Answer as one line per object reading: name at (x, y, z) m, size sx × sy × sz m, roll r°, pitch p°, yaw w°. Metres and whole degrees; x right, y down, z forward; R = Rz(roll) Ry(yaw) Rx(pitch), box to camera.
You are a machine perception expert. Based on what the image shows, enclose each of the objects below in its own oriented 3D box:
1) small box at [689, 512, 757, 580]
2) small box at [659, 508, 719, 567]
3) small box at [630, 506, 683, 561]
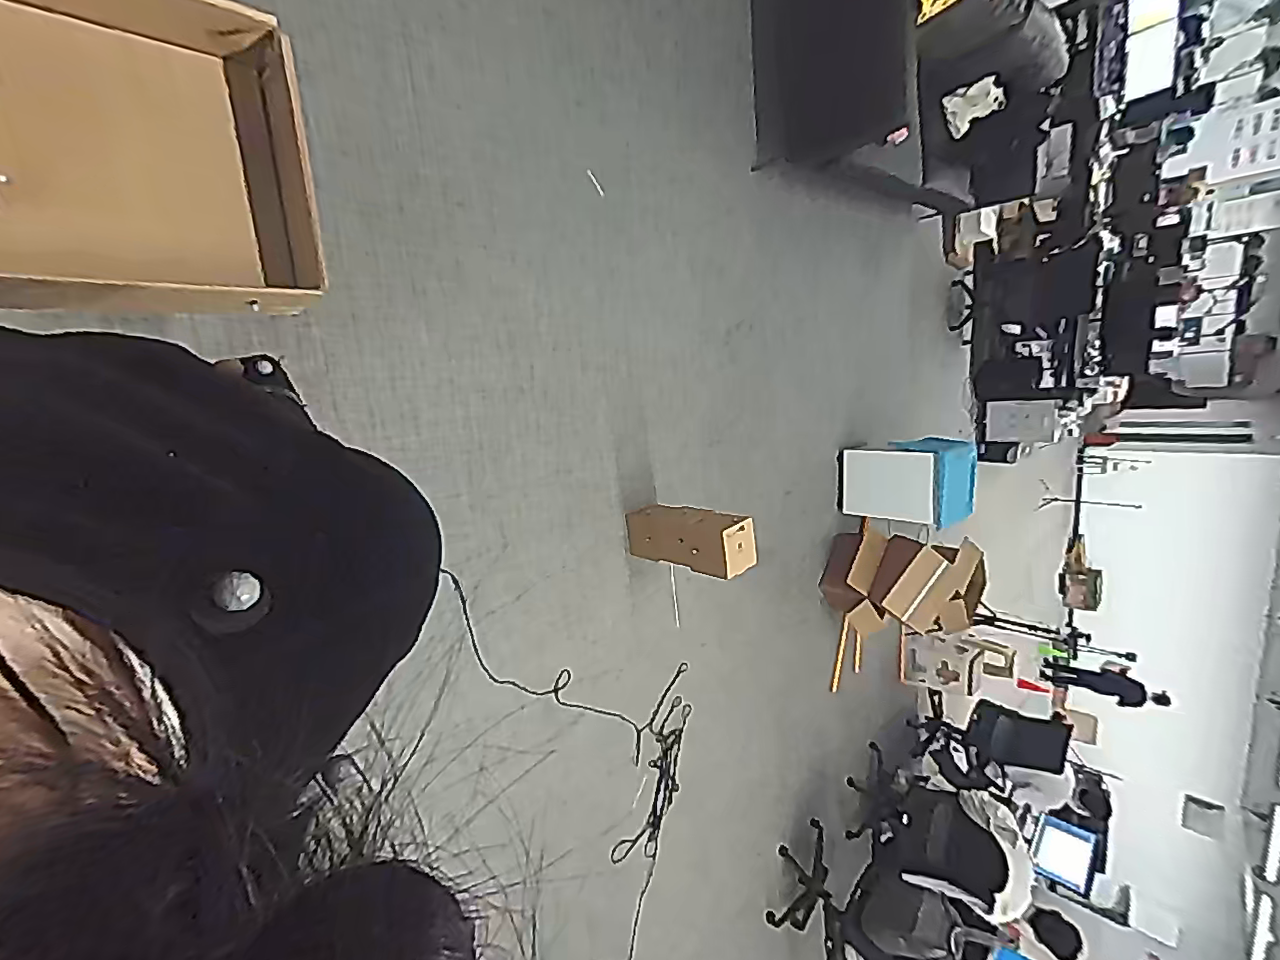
small box at (0.287, 0.224, 1.880) m, size 0.168 × 0.176 × 0.179 m, roll -18°, pitch 107°, yaw -41°
small box at (0.186, 0.205, 2.008) m, size 0.168 × 0.176 × 0.179 m, roll -15°, pitch 105°, yaw -41°
small box at (0.074, 0.203, 2.128) m, size 0.168 × 0.176 × 0.179 m, roll -16°, pitch 105°, yaw -41°
